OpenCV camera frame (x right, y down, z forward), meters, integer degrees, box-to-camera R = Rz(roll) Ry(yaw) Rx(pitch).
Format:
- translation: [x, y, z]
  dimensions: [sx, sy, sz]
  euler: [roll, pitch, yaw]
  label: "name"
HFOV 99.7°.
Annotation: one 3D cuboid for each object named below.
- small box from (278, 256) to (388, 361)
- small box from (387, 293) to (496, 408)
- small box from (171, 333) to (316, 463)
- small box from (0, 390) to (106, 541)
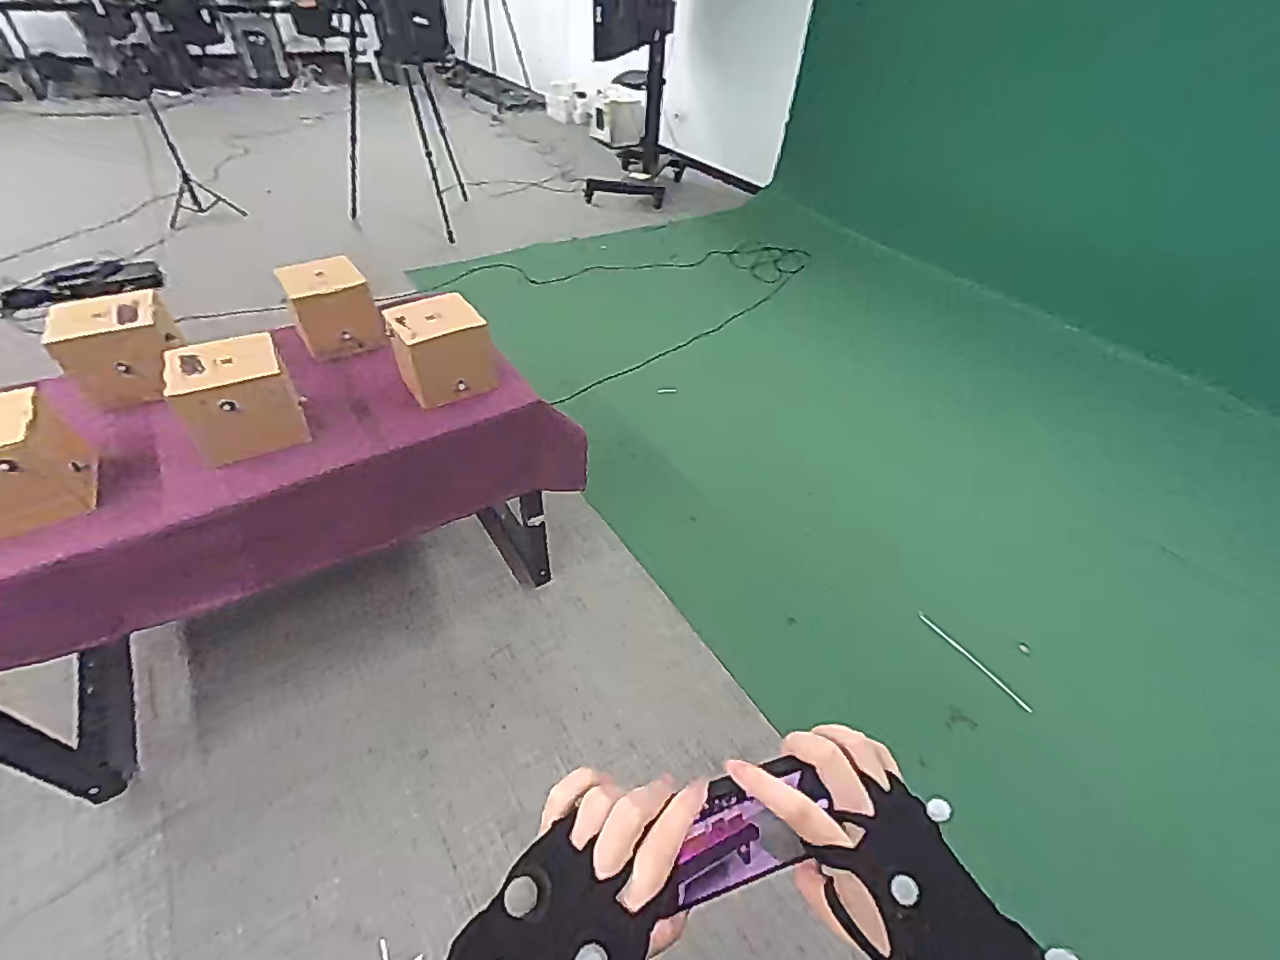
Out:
- translation: [-0.741, -0.416, 1.314]
  dimensions: [0.168, 0.176, 0.179]
  euler: [-27, 53, -27]
  label: "small box"
- translation: [-0.436, -0.290, 1.212]
  dimensions: [0.179, 0.176, 0.168]
  euler: [-25, 51, -26]
  label: "small box"
- translation: [-0.769, -0.158, 1.057]
  dimensions: [0.179, 0.176, 0.168]
  euler: [-21, 50, -24]
  label: "small box"
- translation: [-1.051, -0.018, 0.897]
  dimensions: [0.179, 0.176, 0.168]
  euler: [-22, 51, -26]
  label: "small box"
